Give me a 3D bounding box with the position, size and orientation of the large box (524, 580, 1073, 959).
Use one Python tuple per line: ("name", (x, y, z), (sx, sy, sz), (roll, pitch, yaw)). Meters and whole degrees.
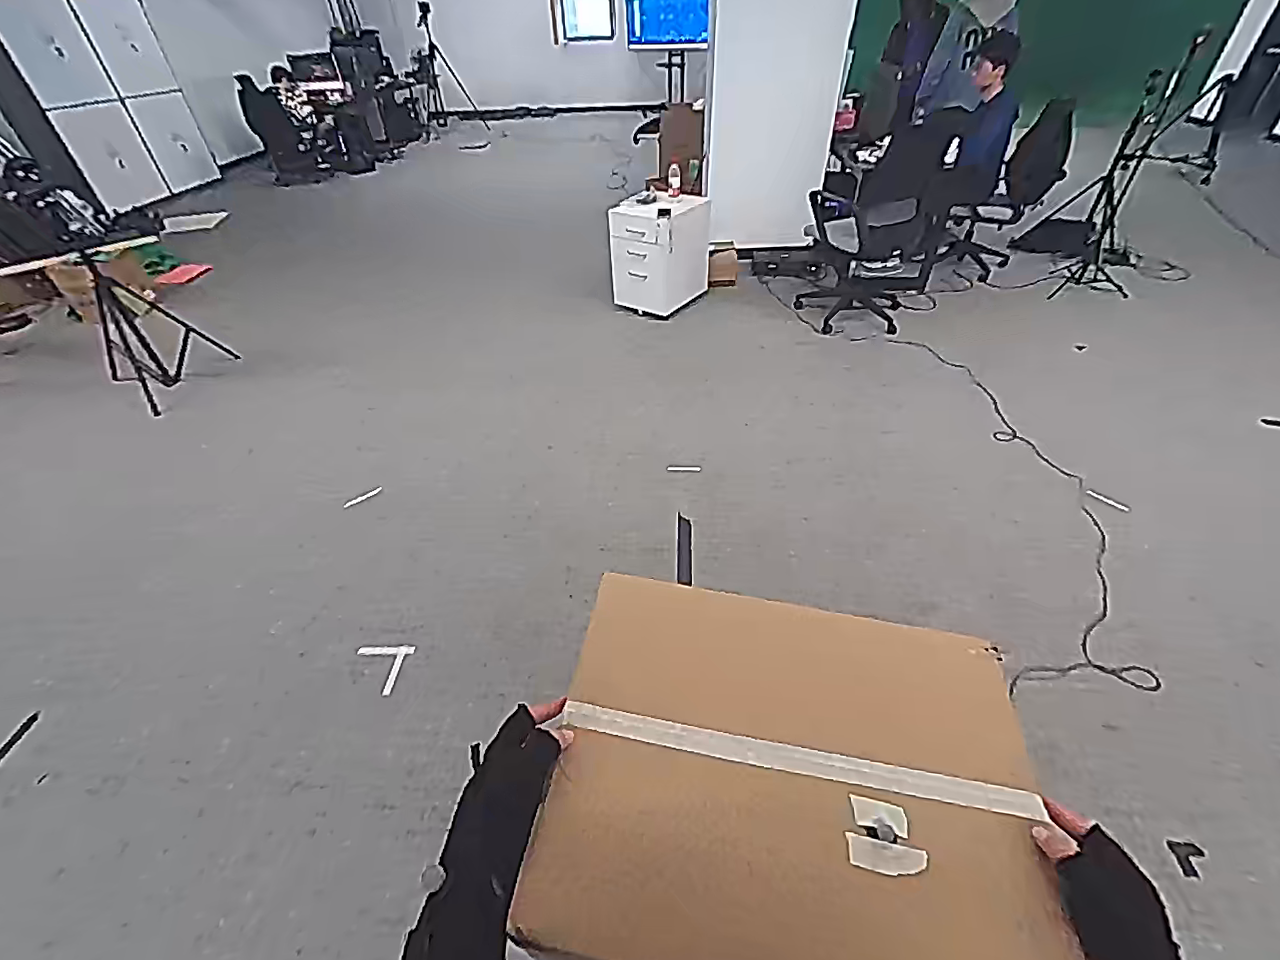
("large box", (0.125, 0.348, 0.581), (0.408, 0.320, 0.320), (9, 46, 6))
